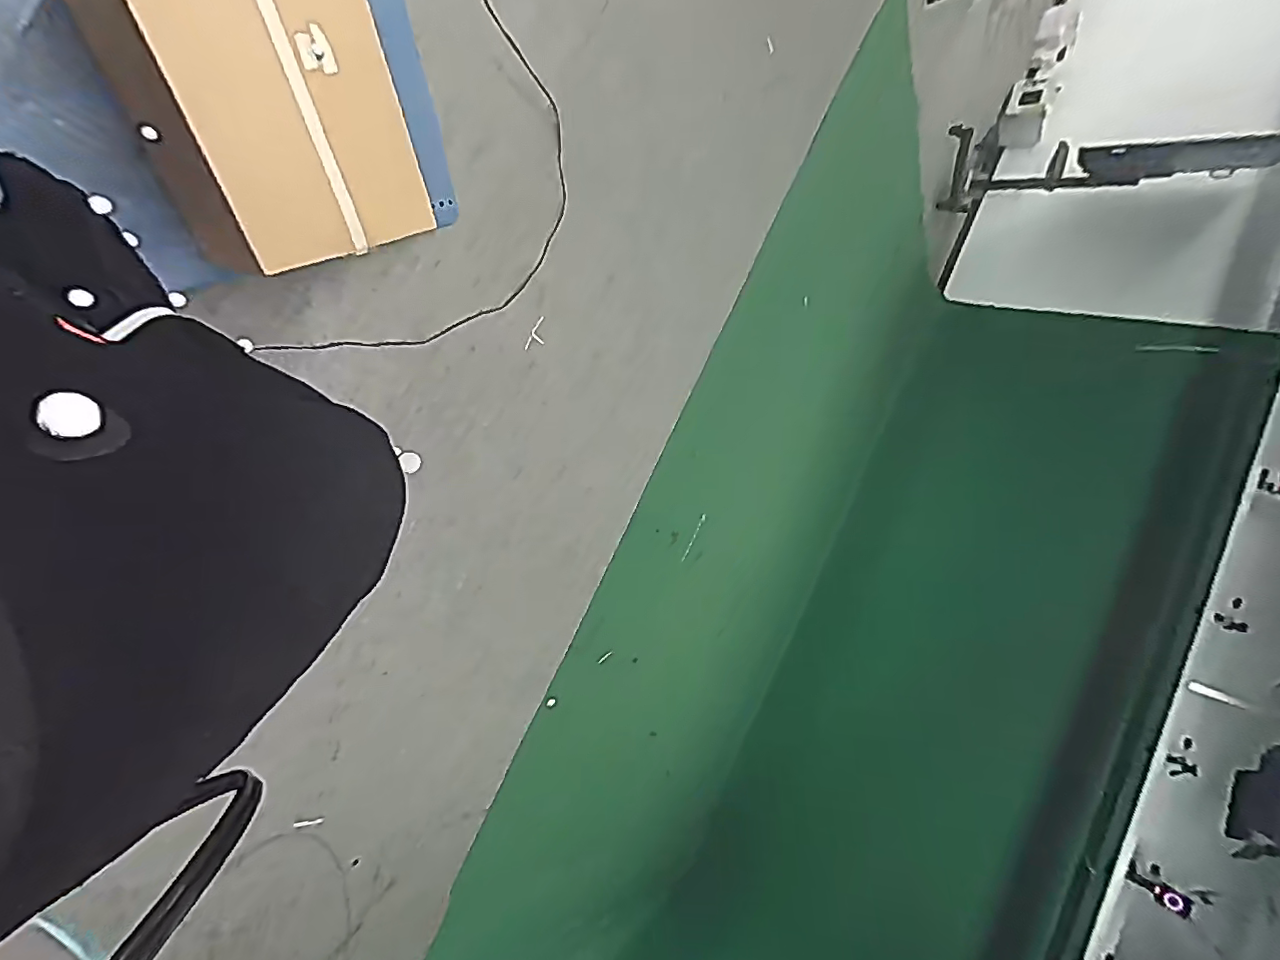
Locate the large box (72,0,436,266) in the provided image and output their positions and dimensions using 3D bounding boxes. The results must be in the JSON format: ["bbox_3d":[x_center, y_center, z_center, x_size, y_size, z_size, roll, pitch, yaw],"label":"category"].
[{"bbox_3d":[-0.615,-0.608,0.897,0.320,0.320,0.408,-38,133,-35],"label":"large box"}]
